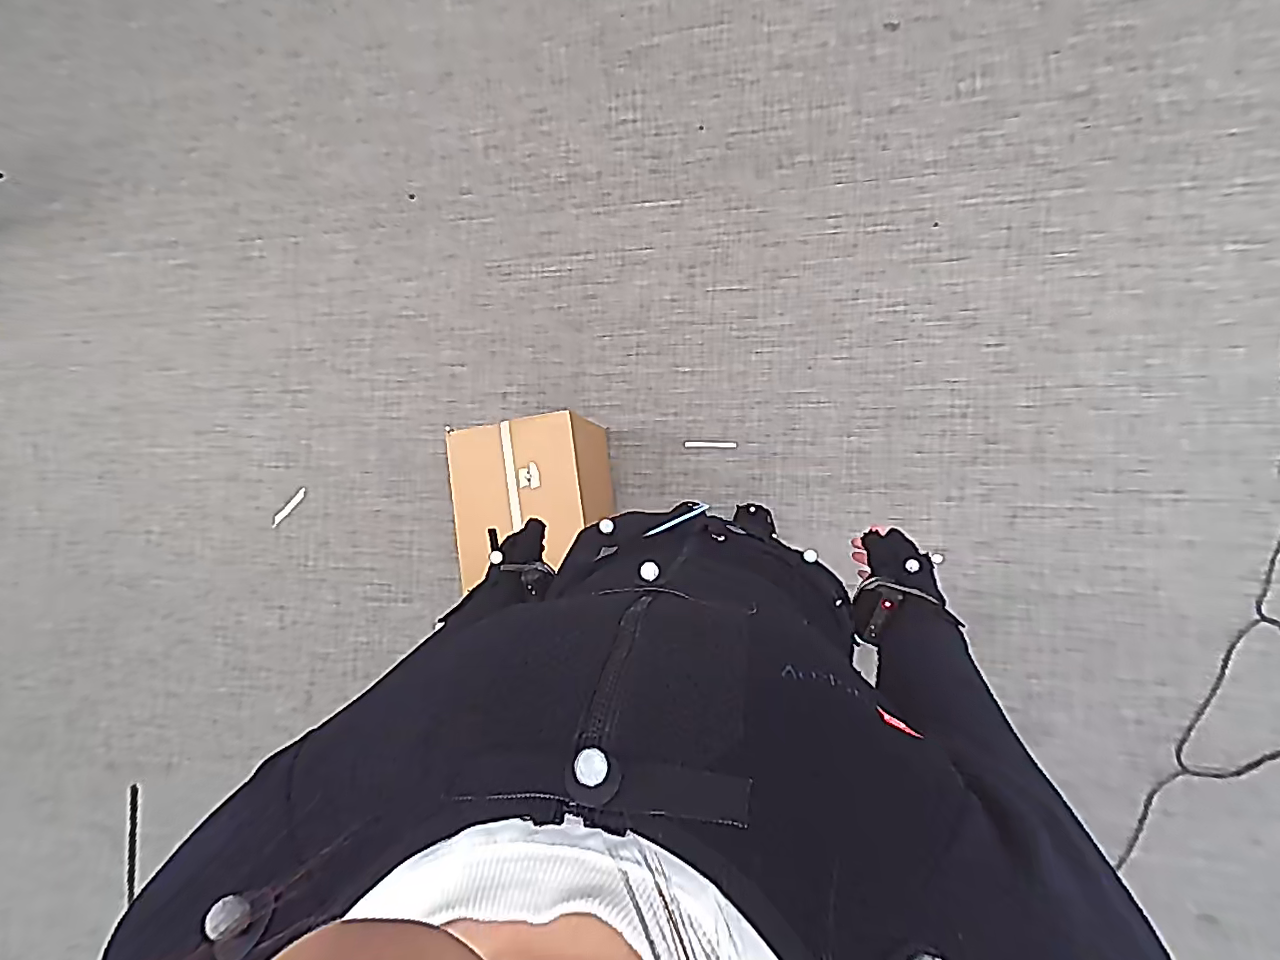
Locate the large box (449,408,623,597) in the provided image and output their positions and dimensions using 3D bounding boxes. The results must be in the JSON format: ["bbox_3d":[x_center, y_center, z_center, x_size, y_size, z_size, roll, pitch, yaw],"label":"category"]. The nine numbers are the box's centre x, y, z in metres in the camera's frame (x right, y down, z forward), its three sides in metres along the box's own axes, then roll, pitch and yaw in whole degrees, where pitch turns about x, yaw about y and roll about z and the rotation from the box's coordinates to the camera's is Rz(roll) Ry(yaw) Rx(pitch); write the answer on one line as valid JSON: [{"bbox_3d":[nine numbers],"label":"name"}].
[{"bbox_3d":[-0.249,0.062,1.385,0.320,0.320,0.408,-9,85,10],"label":"large box"}]
